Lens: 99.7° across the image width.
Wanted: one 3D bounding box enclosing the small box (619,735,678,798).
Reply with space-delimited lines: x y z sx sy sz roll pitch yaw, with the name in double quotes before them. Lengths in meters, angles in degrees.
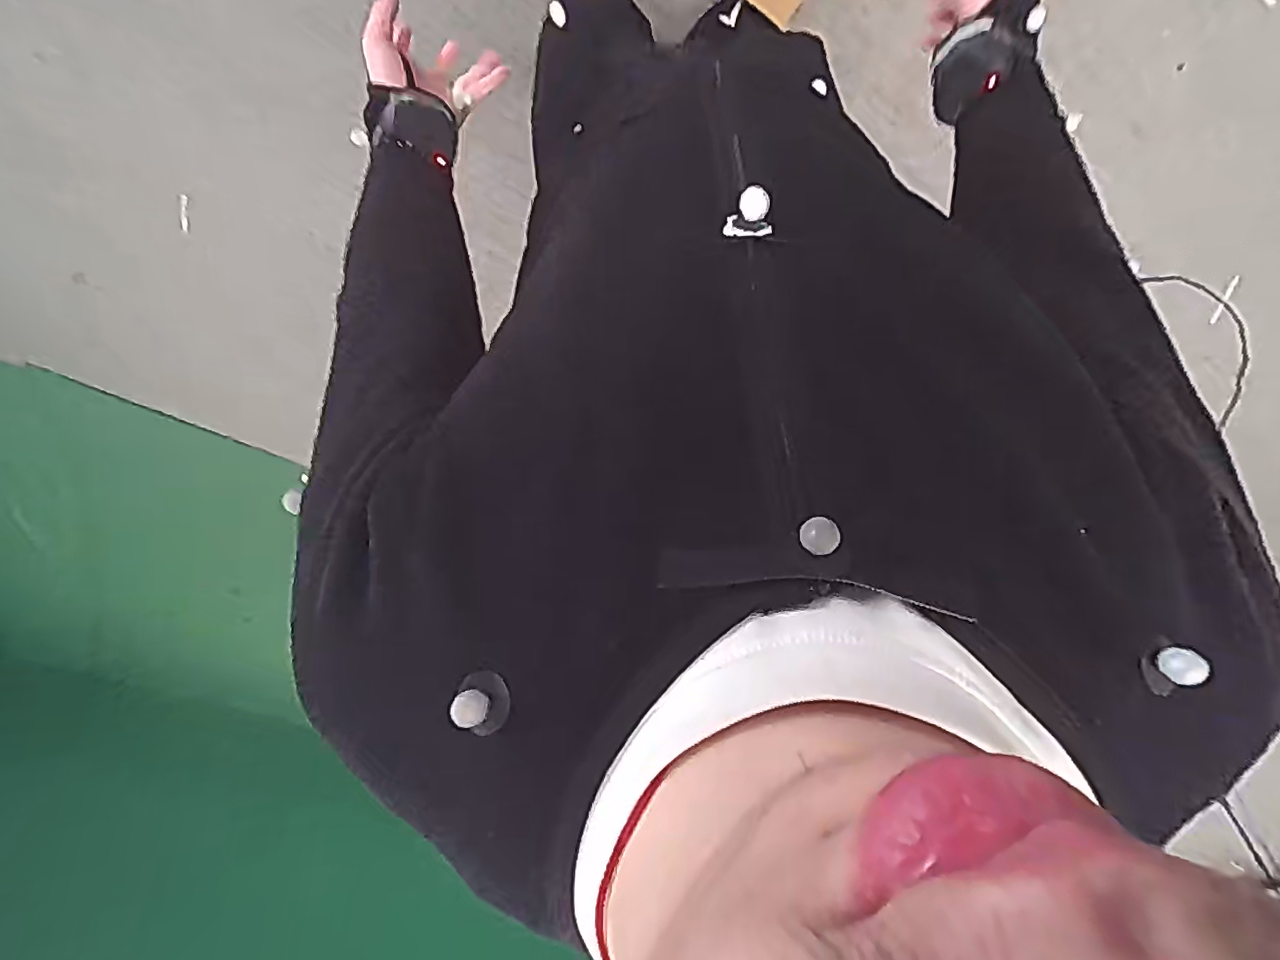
"small box" 0.029 1.081 2.045 0.168 0.176 0.179 20 134 -18
